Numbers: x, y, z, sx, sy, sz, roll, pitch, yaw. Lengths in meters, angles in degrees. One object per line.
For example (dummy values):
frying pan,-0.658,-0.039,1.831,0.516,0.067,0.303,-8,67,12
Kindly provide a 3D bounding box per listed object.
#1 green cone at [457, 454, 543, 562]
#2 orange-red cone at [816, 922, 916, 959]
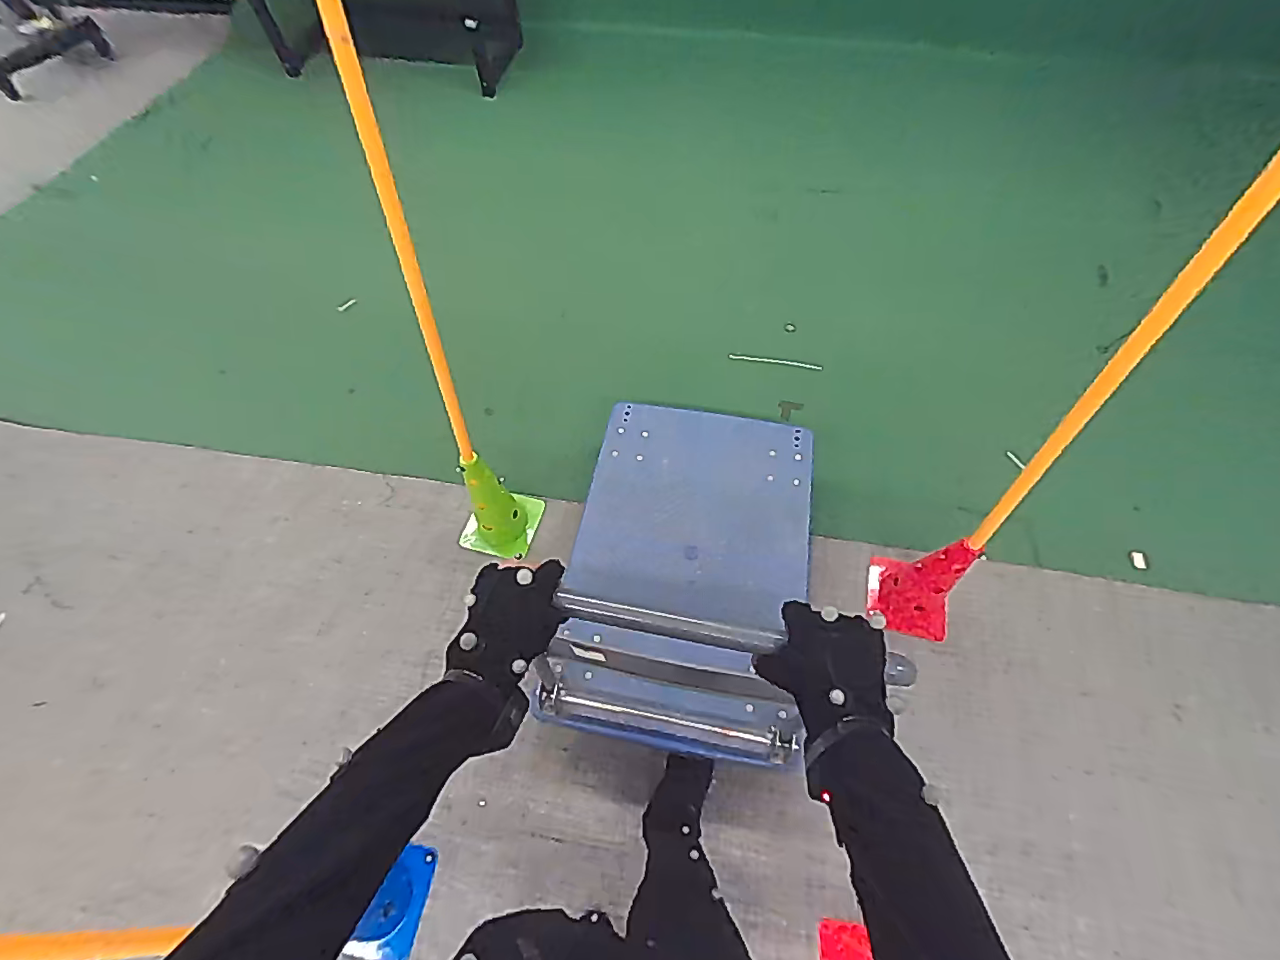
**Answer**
green cone,-0.405,0.044,1.435,0.202,0.368,0.200,12,59,9
orange-red cone,0.437,0.913,0.909,0.199,0.360,0.198,7,59,7
